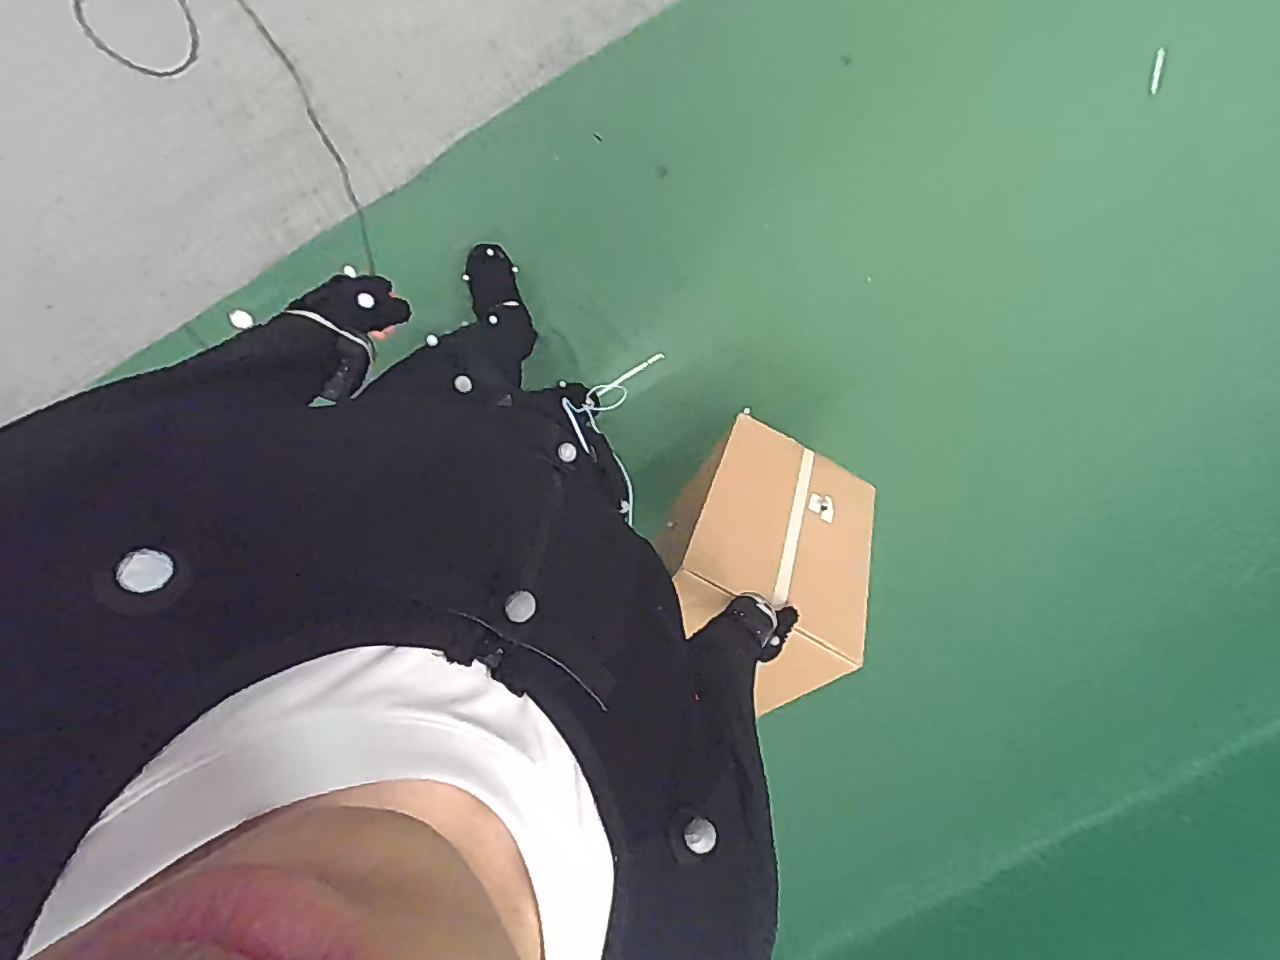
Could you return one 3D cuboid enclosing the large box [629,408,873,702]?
[{"bbox_3d":[0.220,0.145,1.053,0.320,0.408,0.320,29,137,-2],"label":"large box"}]
